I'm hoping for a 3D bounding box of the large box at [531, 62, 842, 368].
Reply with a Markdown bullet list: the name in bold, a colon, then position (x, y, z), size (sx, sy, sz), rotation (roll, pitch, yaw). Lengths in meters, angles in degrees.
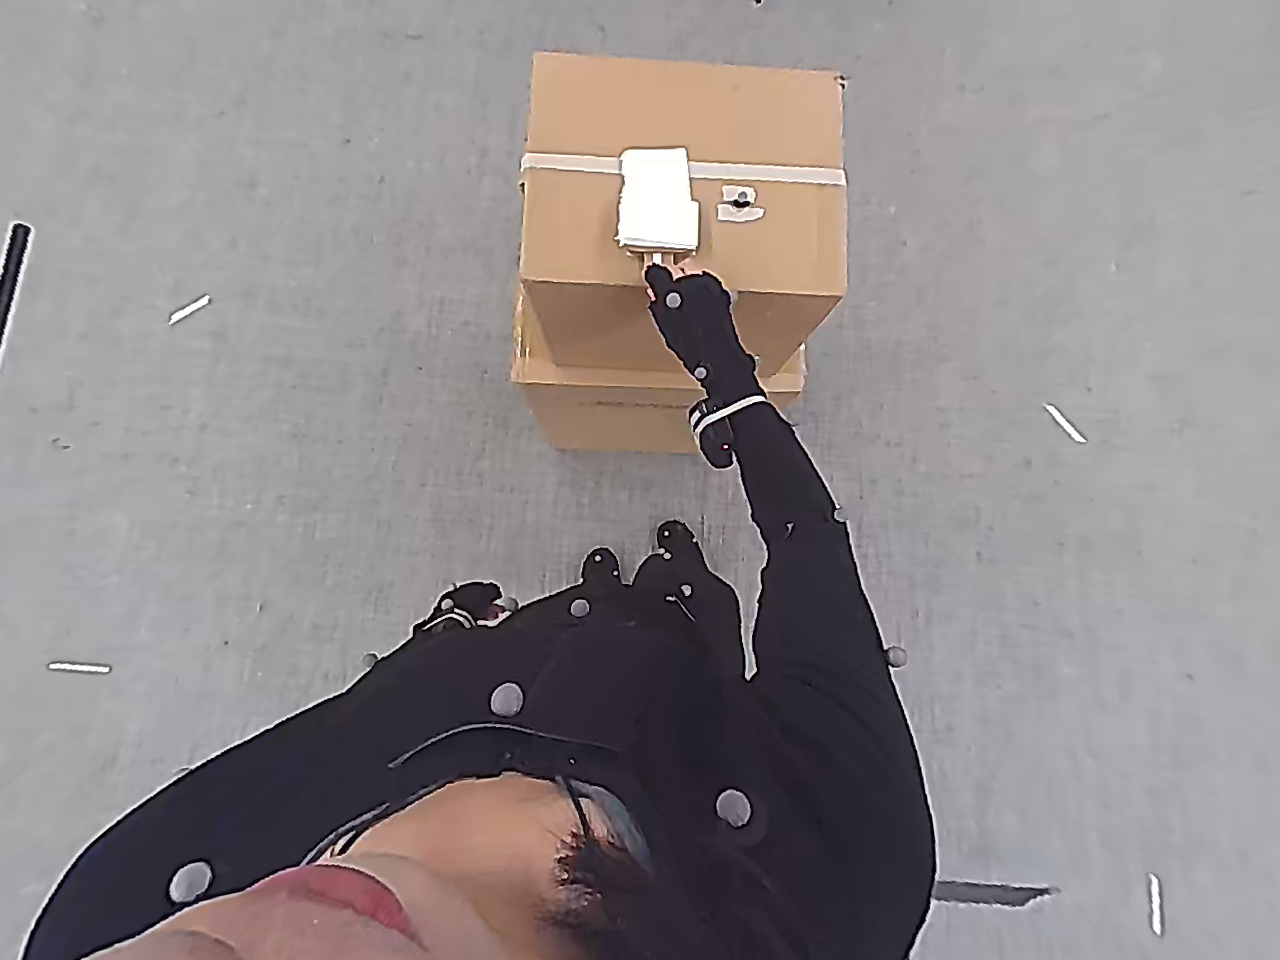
- **large box**: position (0.053, -0.376, 0.848), size (0.408, 0.320, 0.320), rotation (2, 83, -3)
